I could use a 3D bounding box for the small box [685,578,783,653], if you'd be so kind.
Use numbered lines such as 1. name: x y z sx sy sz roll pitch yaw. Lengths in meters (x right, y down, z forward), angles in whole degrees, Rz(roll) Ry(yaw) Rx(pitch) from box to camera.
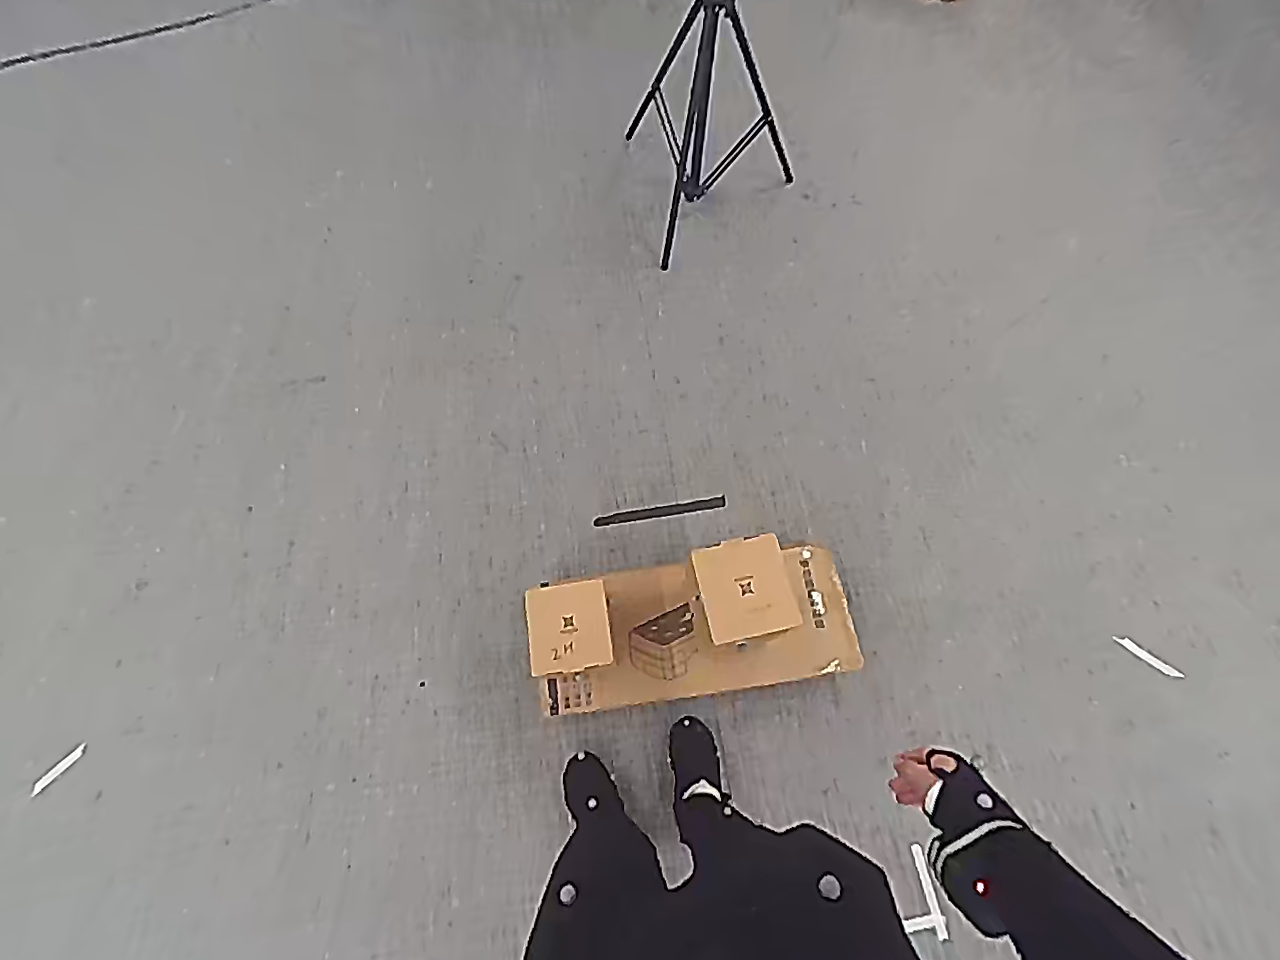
1. small box: 0.201 0.282 1.198 0.168 0.176 0.179 -10 70 -4

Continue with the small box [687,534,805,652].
1. small box: 0.192 0.224 1.045 0.168 0.176 0.179 -13 70 -4
